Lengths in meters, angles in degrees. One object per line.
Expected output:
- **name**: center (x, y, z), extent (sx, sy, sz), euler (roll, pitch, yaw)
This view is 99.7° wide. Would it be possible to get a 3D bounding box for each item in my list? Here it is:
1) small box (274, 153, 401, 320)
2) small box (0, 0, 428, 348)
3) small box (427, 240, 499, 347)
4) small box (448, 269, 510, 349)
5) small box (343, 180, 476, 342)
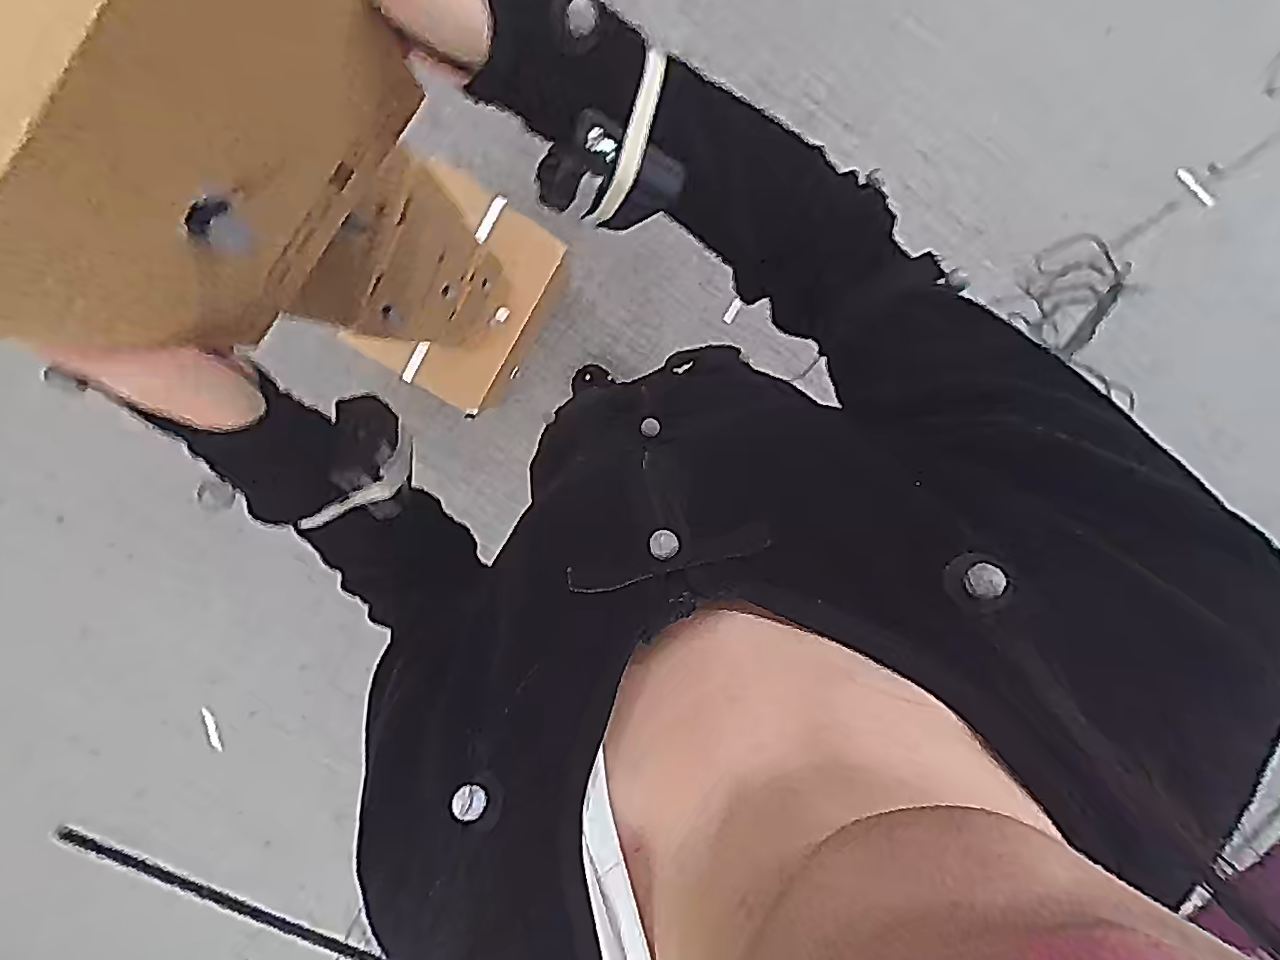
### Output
- **small box**: center (-0.294, -0.222, 0.379), extent (0.179, 0.176, 0.168), euler (20, 98, -11)
- **small box**: center (-0.208, -0.168, 0.195), extent (0.179, 0.176, 0.168), euler (36, 96, -13)
- **small box**: center (-0.343, -0.324, 0.858), extent (0.179, 0.176, 0.168), euler (28, 97, -10)
- **small box**: center (-0.366, -0.356, 1.015), extent (0.179, 0.176, 0.168), euler (29, 98, -11)
- **small box**: center (-0.332, -0.289, 0.698), extent (0.179, 0.176, 0.168), euler (24, 97, -11)
